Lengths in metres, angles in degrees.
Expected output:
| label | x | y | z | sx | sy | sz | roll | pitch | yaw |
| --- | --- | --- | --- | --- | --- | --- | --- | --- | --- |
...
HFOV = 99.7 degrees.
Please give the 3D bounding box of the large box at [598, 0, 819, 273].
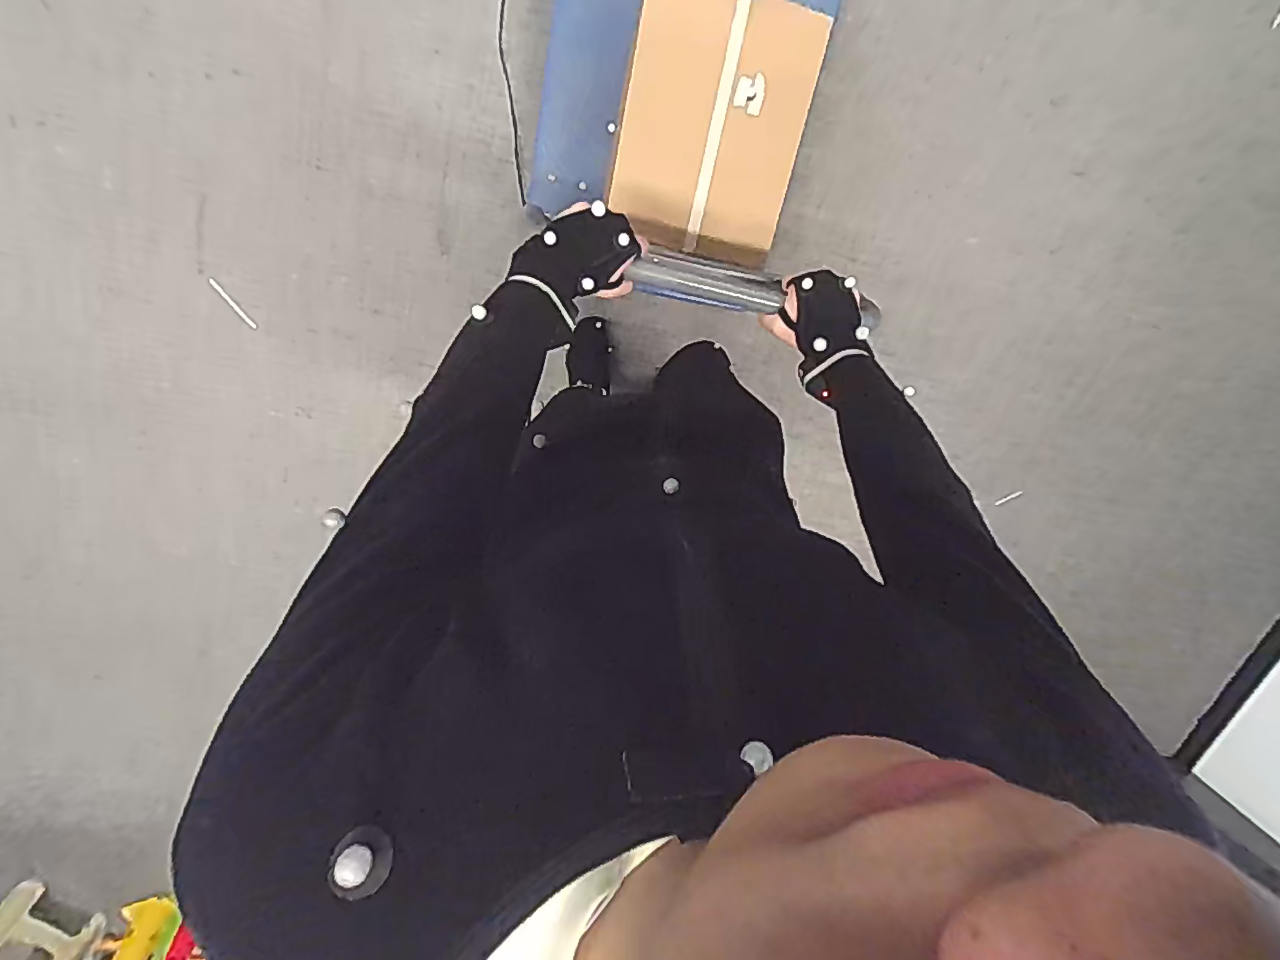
| label | x | y | z | sx | sy | sz | roll | pitch | yaw |
| --- | --- | --- | --- | --- | --- | --- | --- | --- | --- |
| large box | 0.100 | -0.652 | 1.079 | 0.320 | 0.320 | 0.408 | 8 | 109 | -11 |
